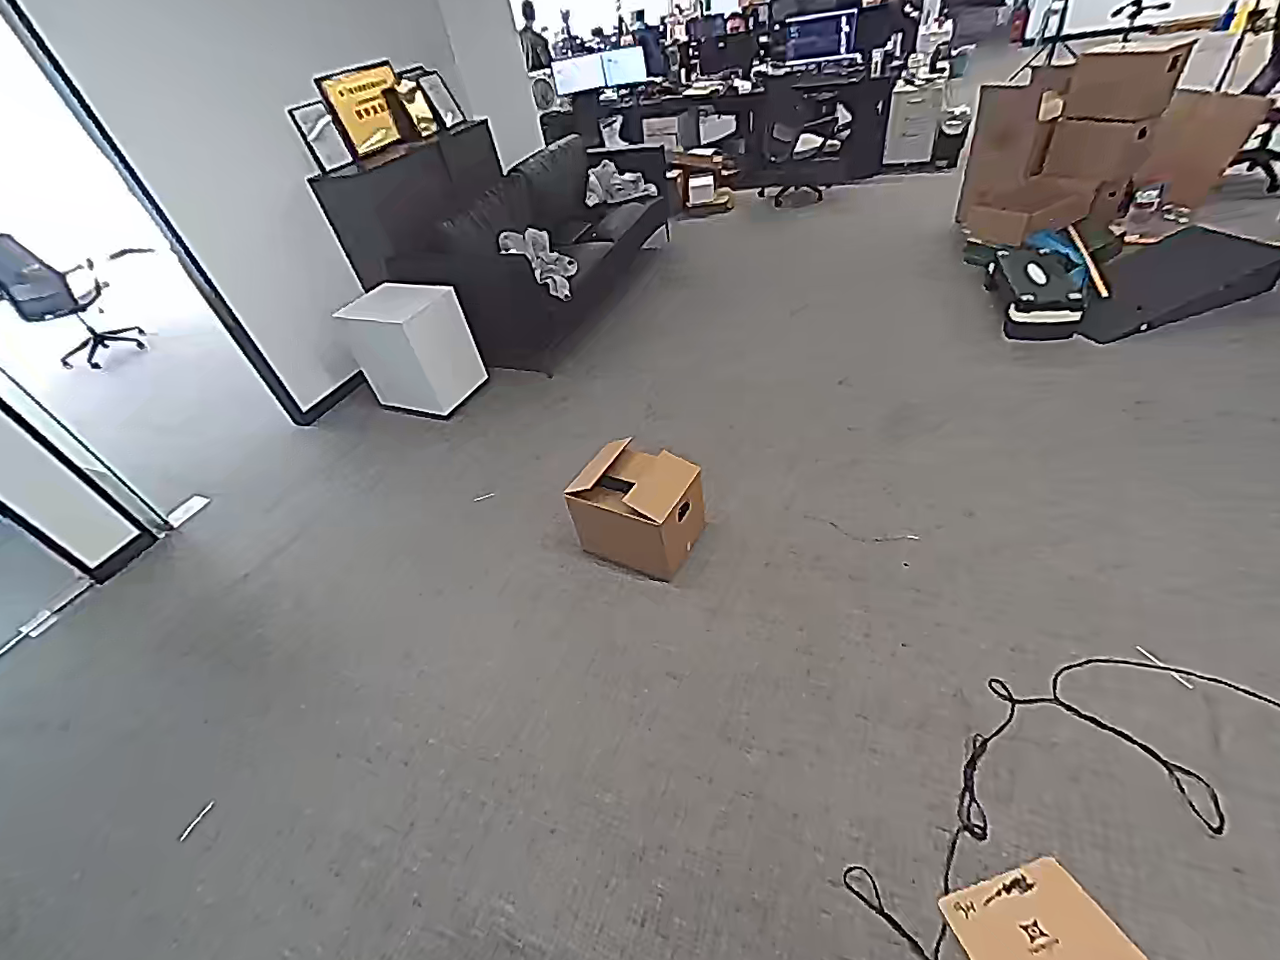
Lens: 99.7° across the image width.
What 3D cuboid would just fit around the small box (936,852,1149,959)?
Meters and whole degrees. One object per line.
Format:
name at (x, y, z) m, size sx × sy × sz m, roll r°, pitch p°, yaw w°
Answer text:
small box at (0.505, 0.610, 0.644) m, size 0.168 × 0.176 × 0.179 m, roll -27°, pitch 4°, yaw 2°
